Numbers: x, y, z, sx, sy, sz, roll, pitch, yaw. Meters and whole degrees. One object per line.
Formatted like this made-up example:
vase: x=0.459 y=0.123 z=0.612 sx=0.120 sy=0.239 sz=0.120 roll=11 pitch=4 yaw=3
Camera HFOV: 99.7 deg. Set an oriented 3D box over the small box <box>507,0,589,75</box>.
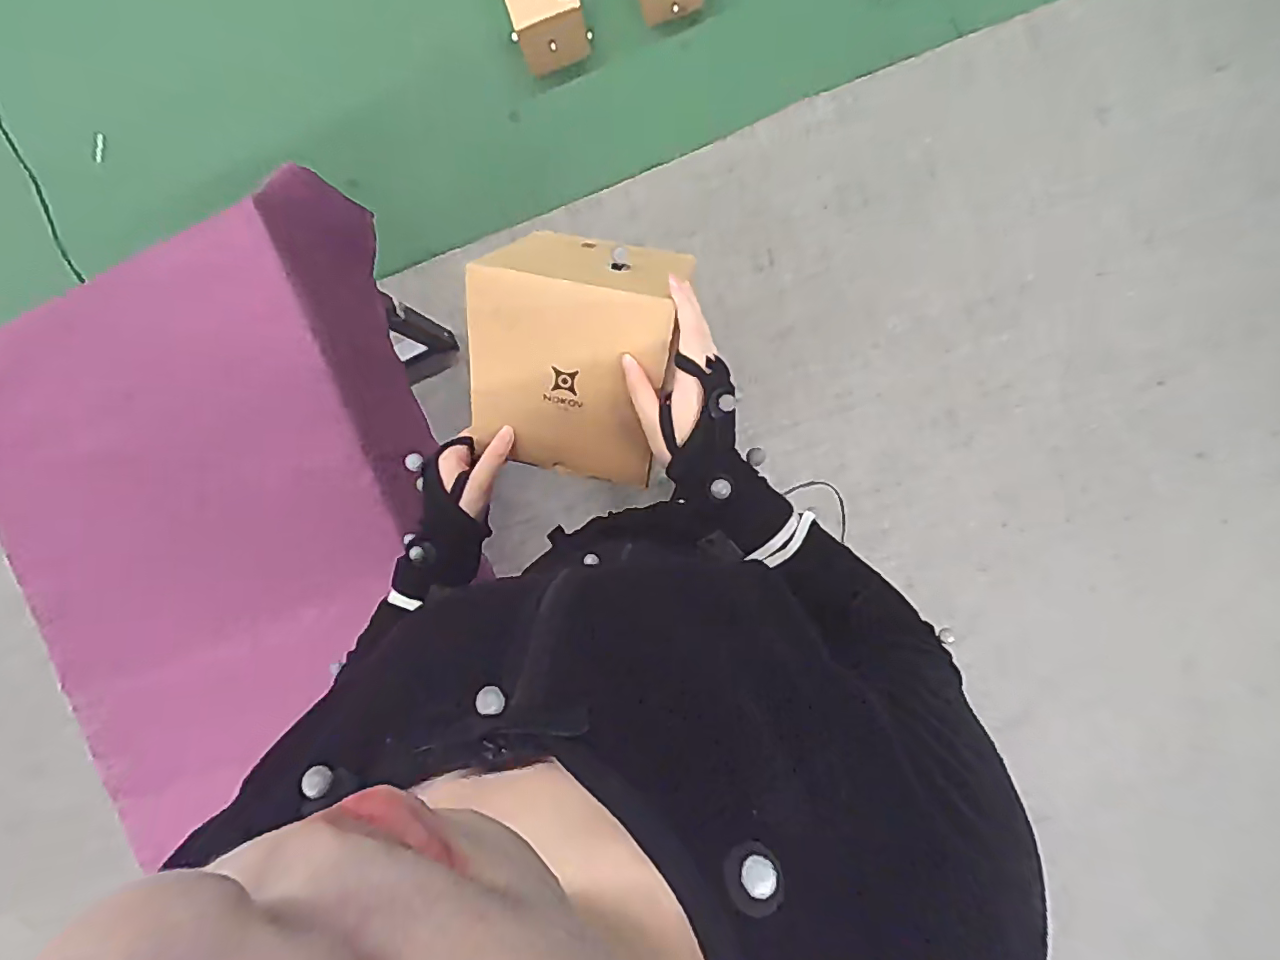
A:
small box: x=-0.241 y=-1.215 z=1.409 sx=0.179 sy=0.176 sz=0.168 roll=-18 pitch=90 yaw=6
